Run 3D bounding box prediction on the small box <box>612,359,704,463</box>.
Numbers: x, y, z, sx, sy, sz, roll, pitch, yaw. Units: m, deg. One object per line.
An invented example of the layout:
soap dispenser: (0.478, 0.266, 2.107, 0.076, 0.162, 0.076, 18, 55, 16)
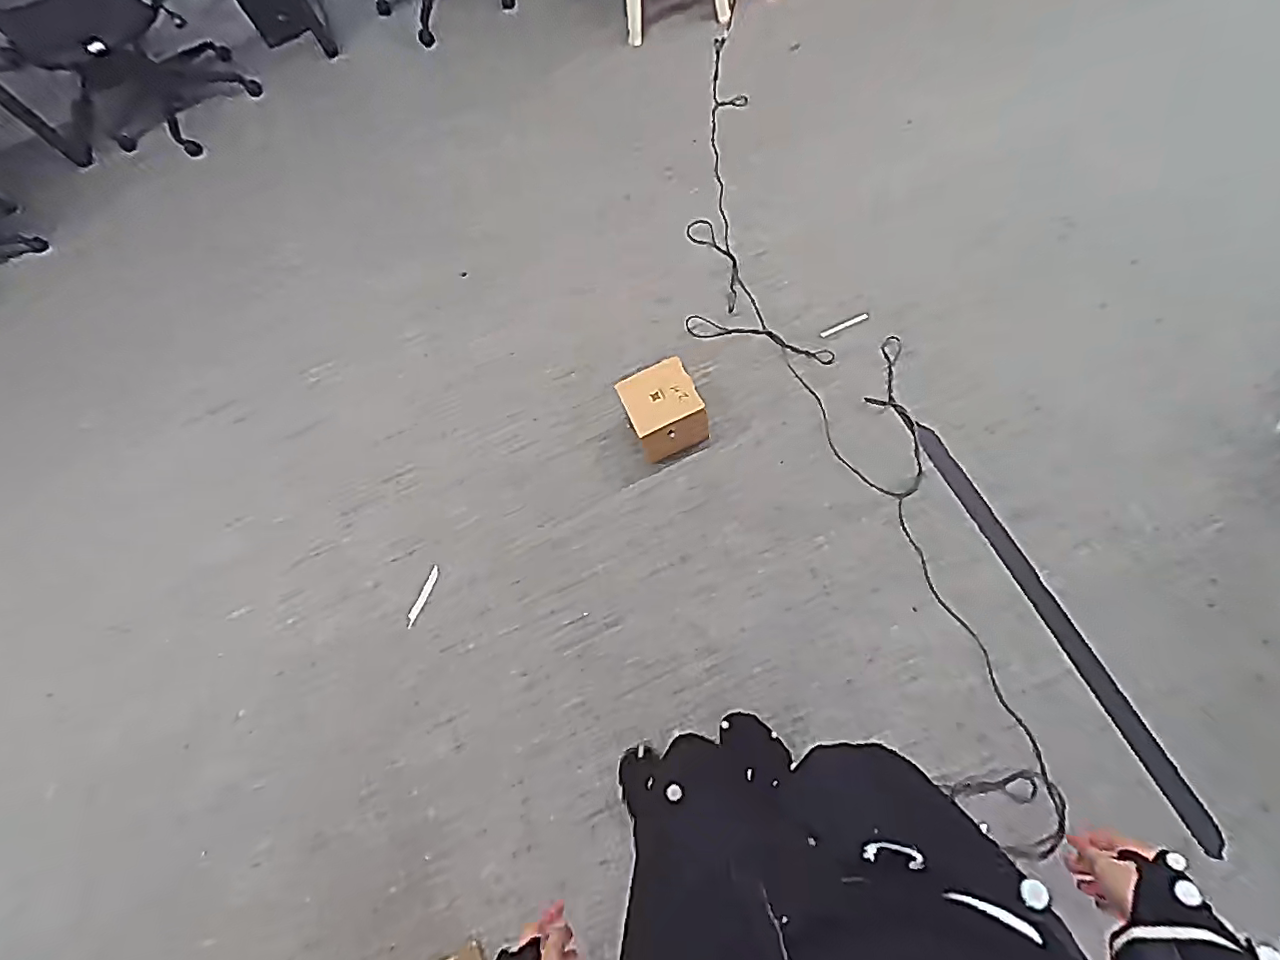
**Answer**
small box: (0.052, -0.167, 1.375, 0.179, 0.176, 0.168, -25, 68, 0)
